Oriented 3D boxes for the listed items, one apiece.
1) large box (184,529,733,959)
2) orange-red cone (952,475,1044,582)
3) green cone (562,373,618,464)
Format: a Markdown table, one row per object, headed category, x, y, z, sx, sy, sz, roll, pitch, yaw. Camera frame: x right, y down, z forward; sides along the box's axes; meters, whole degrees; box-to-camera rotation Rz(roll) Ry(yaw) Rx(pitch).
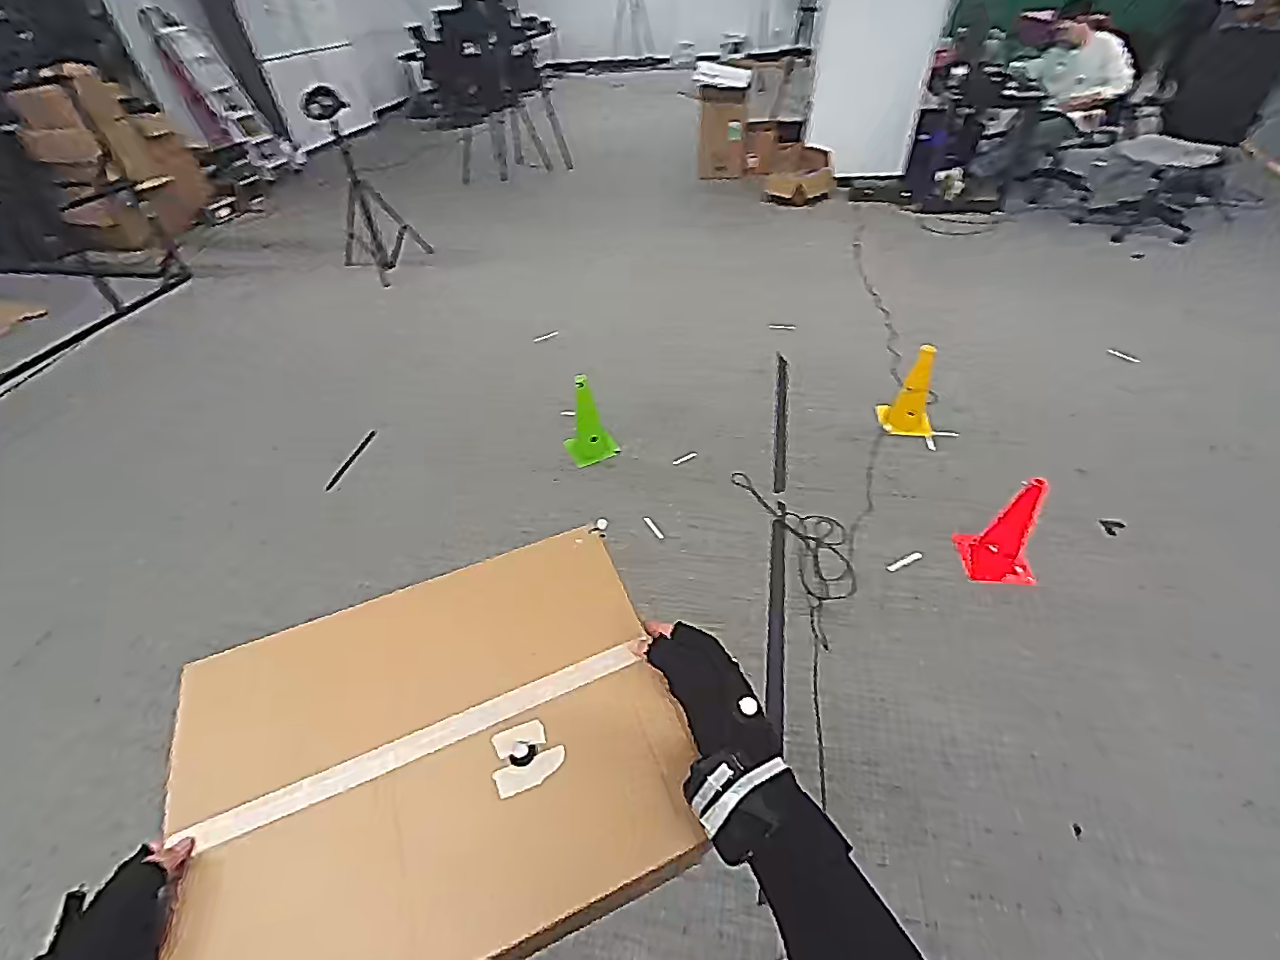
| category | x | y | z | sx | sy | sz | roll | pitch | yaw |
| --- | --- | --- | --- | --- | --- | --- | --- | --- | --- |
| large box | -0.164 | 0.316 | 0.583 | 0.408 | 0.320 | 0.320 | -17 | 53 | -14 |
| orange-red cone | 1.153 | 0.125 | 1.682 | 0.198 | 0.360 | 0.199 | 4 | 43 | 7 |
| green cone | -0.230 | -0.278 | 2.218 | 0.202 | 0.368 | 0.200 | -23 | 46 | -16 |
